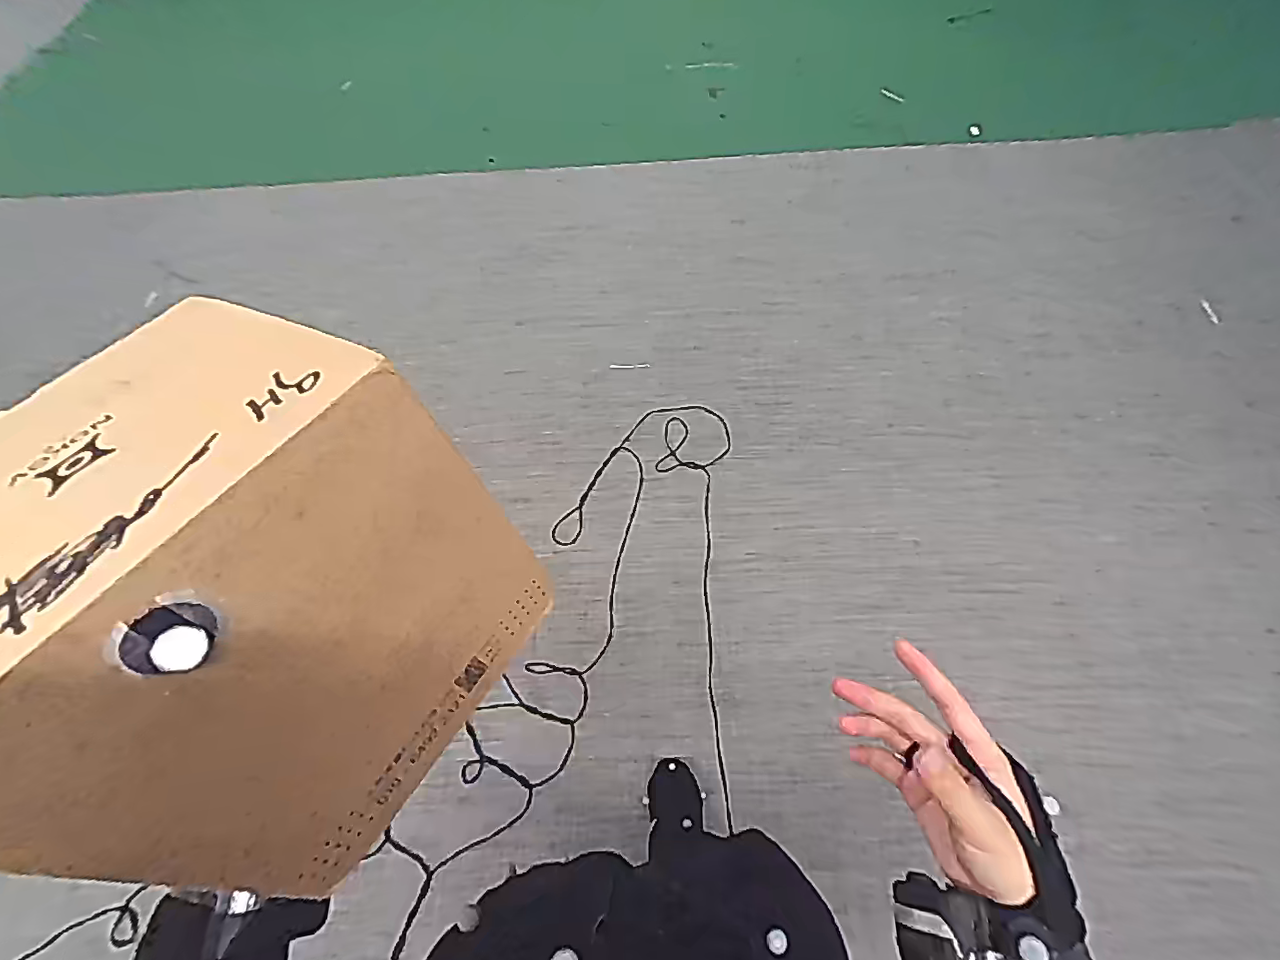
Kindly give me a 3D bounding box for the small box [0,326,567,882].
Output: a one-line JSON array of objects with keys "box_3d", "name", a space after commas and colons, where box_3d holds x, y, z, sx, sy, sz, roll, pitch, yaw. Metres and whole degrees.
[{"box_3d": [-0.167, 0.053, 0.256, 0.179, 0.176, 0.168, 19, 59, 31], "name": "small box"}]
